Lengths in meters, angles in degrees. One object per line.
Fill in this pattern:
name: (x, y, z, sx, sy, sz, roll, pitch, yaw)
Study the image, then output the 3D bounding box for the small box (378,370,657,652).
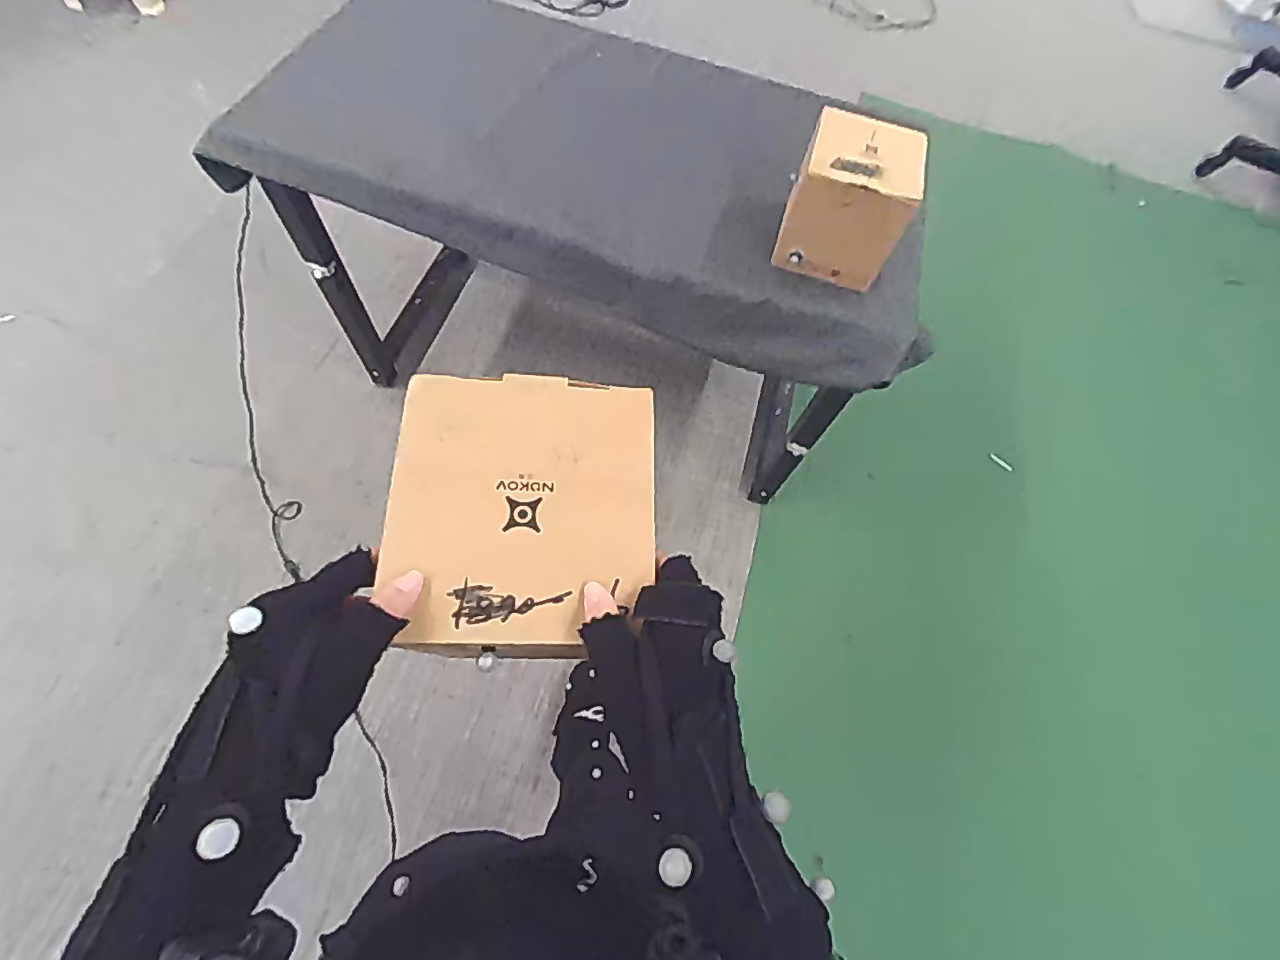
small box: (-0.080, 0.037, 0.425, 0.168, 0.176, 0.179, 3, 70, -6)

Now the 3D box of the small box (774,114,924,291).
small box: (0.327, -0.437, 0.869, 0.168, 0.176, 0.179, 18, 62, 3)
